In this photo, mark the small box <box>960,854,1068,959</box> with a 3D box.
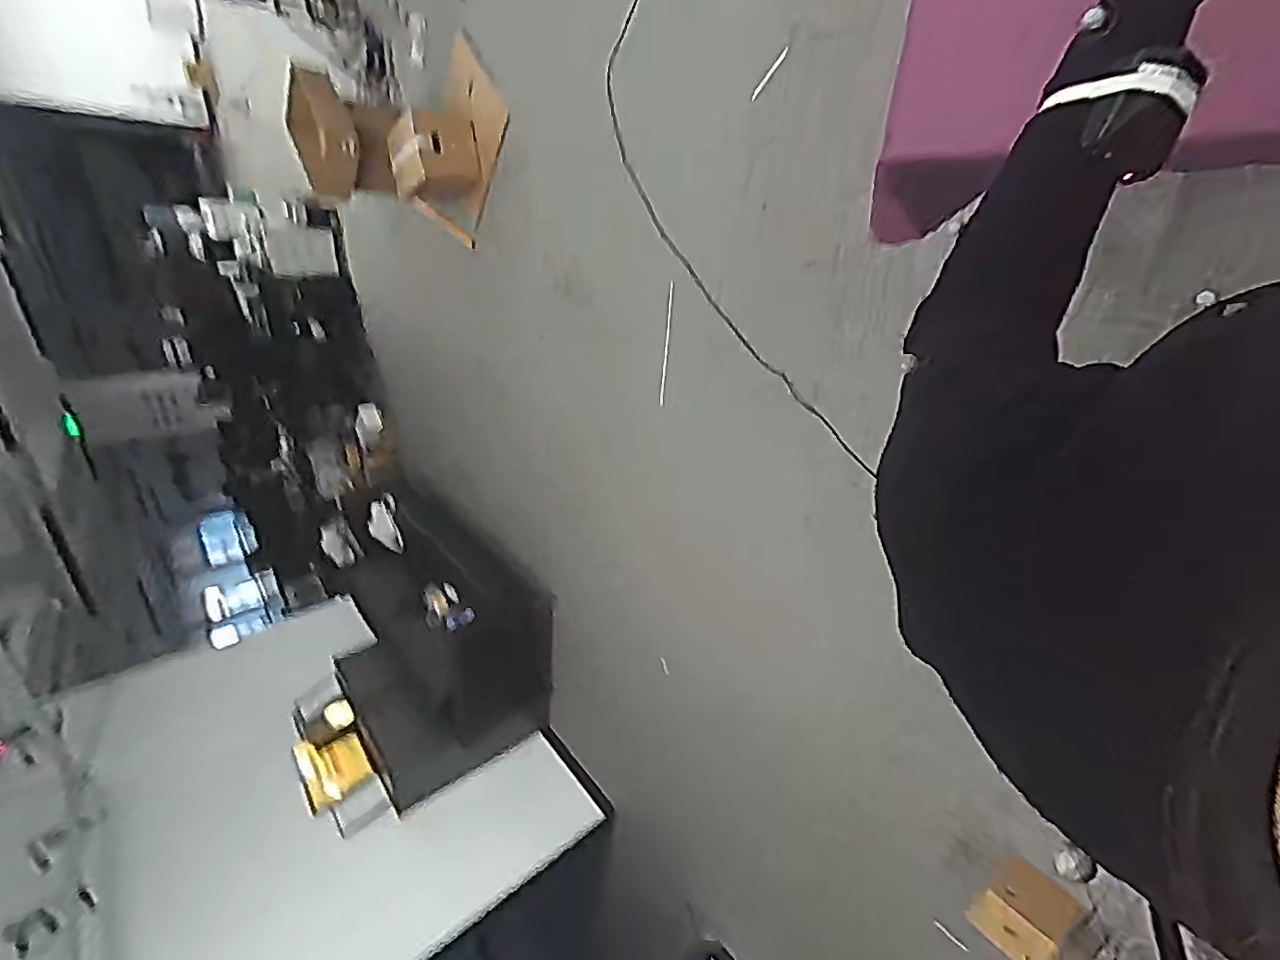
[{"bbox_3d":[1.043,1.194,1.511,0.179,0.176,0.168,32,127,40],"label":"small box"}]
